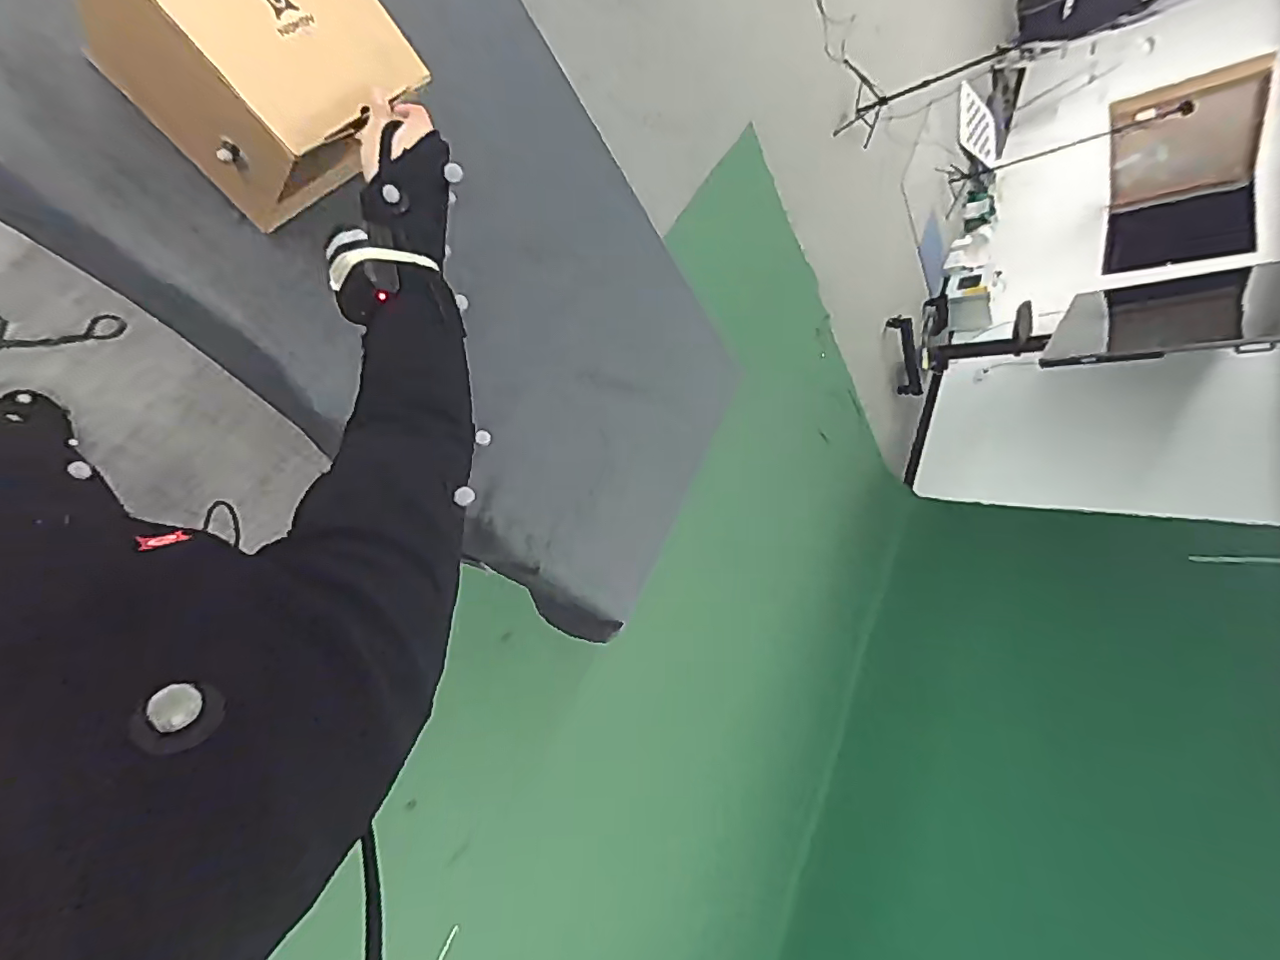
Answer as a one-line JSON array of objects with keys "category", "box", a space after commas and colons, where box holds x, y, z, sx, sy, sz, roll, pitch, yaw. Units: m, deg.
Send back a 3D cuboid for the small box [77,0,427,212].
[{"category": "small box", "box": [-0.334, -0.369, 0.478, 0.179, 0.176, 0.168, 49, 58, -28]}]
